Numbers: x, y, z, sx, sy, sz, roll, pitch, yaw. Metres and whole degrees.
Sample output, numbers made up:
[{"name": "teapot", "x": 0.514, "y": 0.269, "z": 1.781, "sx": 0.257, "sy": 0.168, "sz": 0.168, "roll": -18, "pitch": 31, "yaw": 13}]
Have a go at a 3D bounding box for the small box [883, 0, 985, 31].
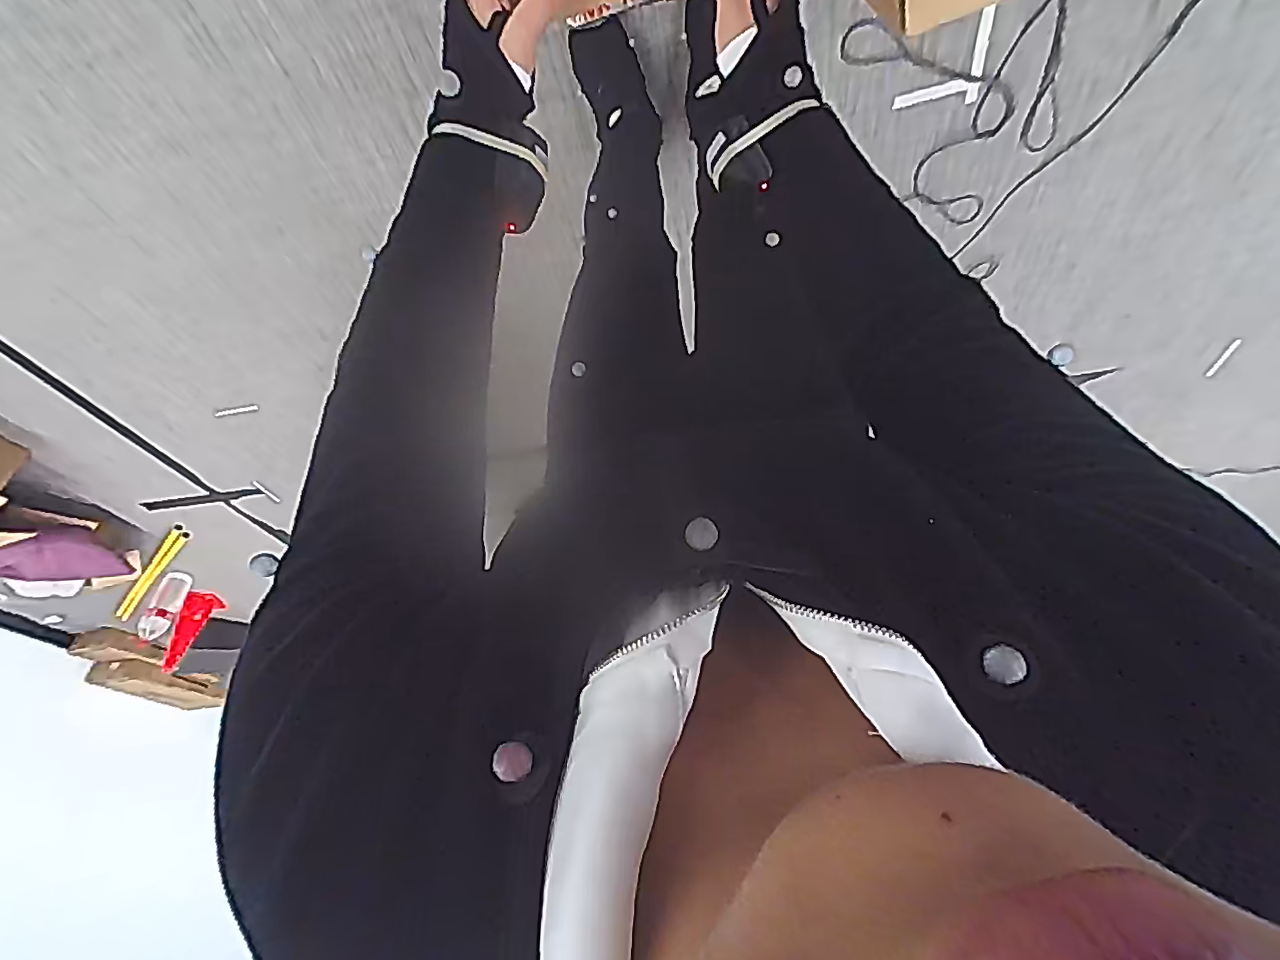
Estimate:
[{"name": "small box", "x": 0.198, "y": -0.387, "z": 0.278, "sx": 0.179, "sy": 0.176, "sz": 0.168, "roll": -14, "pitch": 145, "yaw": 14}]
